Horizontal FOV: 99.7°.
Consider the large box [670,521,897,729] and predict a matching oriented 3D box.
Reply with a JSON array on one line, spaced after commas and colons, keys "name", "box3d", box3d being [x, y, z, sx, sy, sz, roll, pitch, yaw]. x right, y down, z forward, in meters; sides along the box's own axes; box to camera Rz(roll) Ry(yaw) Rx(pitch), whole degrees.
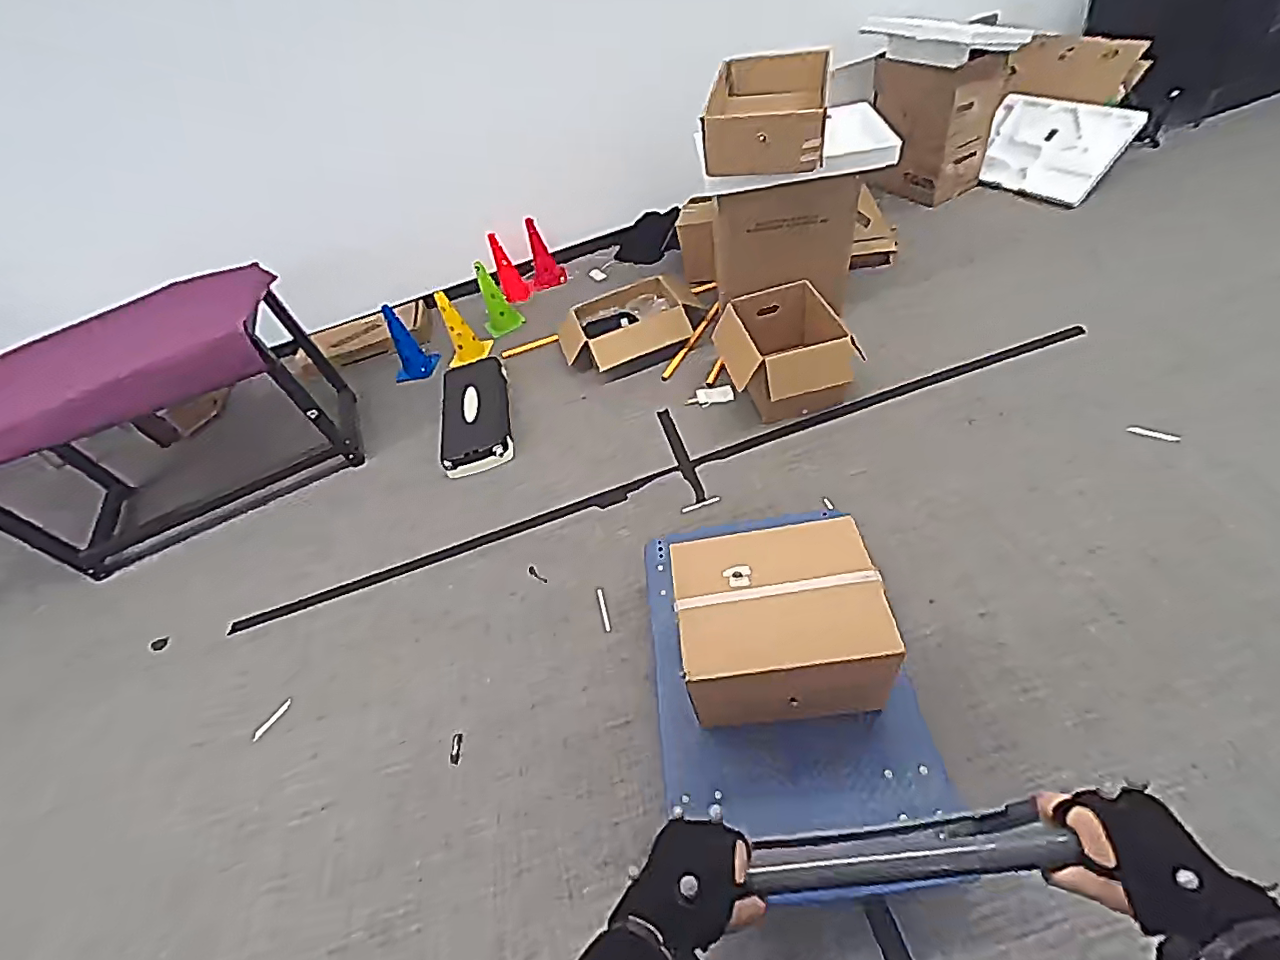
[{"name": "large box", "box3d": [0.304, 0.336, 1.222, 0.408, 0.320, 0.320, -11, 47, 6]}]
